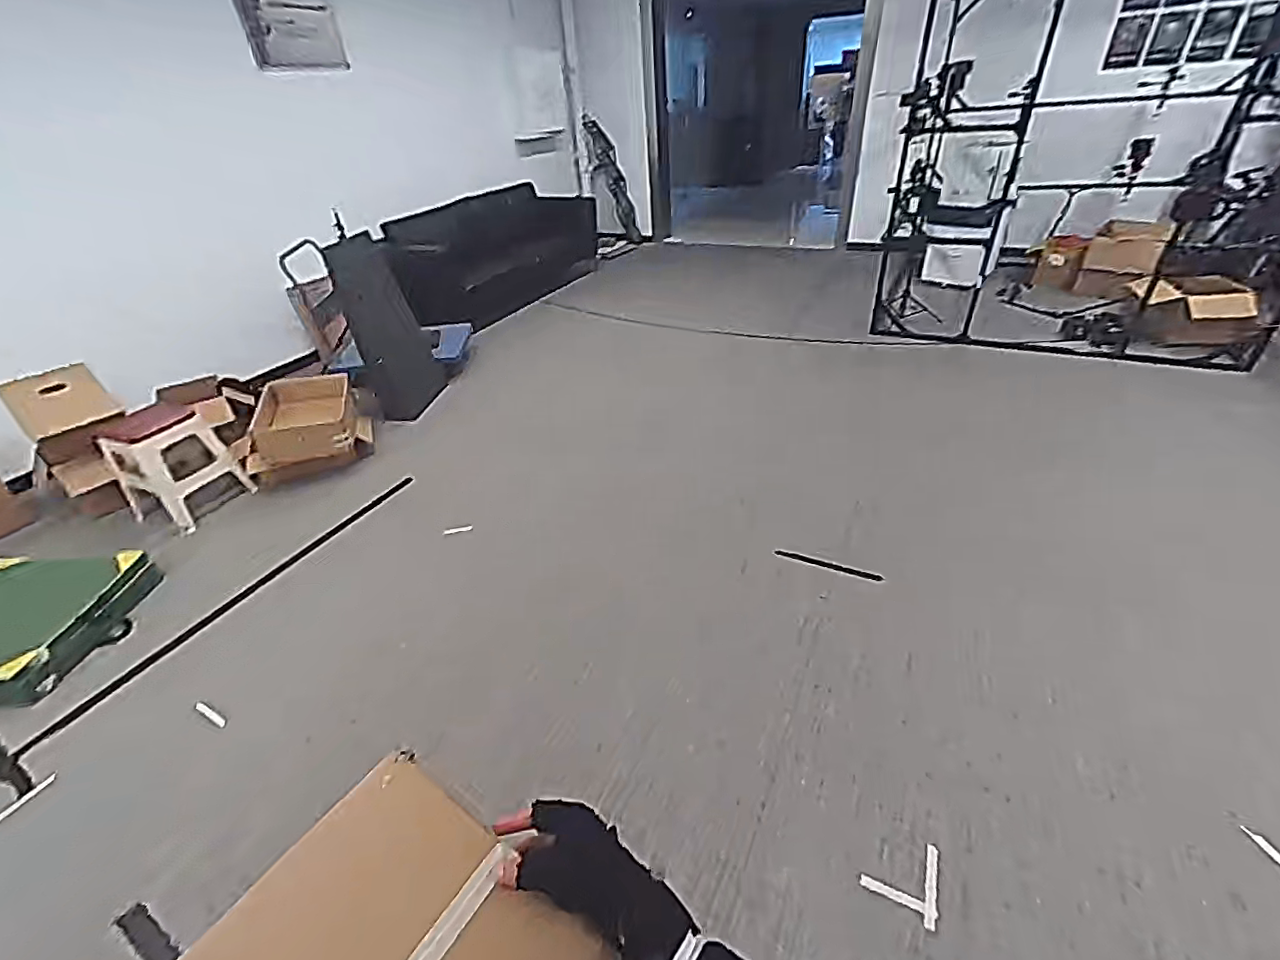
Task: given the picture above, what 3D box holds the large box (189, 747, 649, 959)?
[{"bbox_3d":[-0.225,0.543,0.448,0.320,0.320,0.408,24,44,25],"label":"large box"}]
